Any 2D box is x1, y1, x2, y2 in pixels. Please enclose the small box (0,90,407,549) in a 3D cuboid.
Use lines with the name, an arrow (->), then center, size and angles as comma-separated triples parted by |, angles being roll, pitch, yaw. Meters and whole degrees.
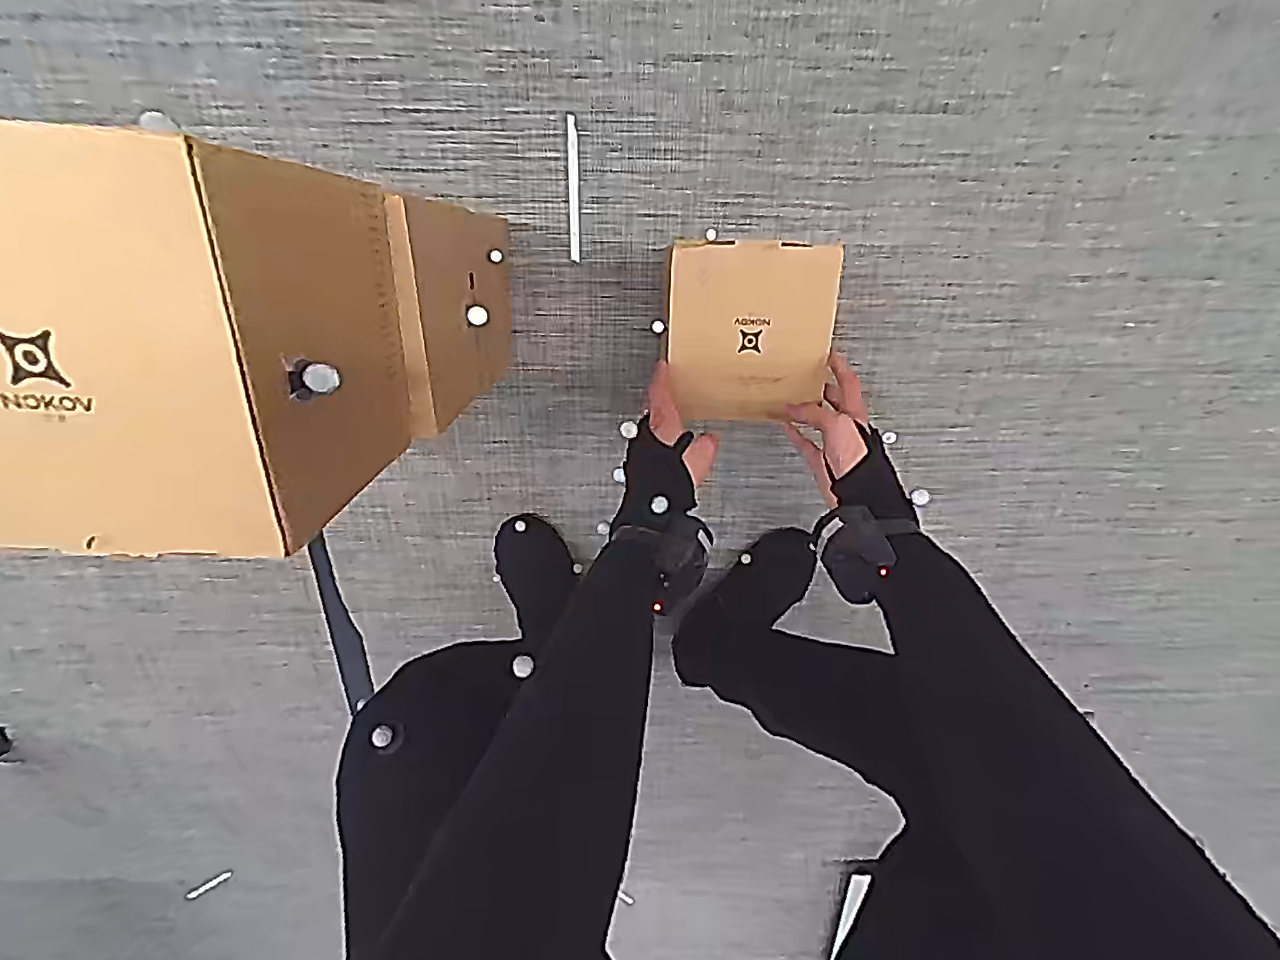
small box -> -0.241, -0.082, 0.285 | 0.168, 0.176, 0.179 | 2, 114, -2

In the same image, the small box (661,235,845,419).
small box -> 0.111, -0.176, 0.610 | 0.168, 0.176, 0.179 | 0, 113, 0

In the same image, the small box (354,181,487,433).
small box -> -0.236, -0.142, 0.437 | 0.179, 0.176, 0.168 | 0, 114, -2
